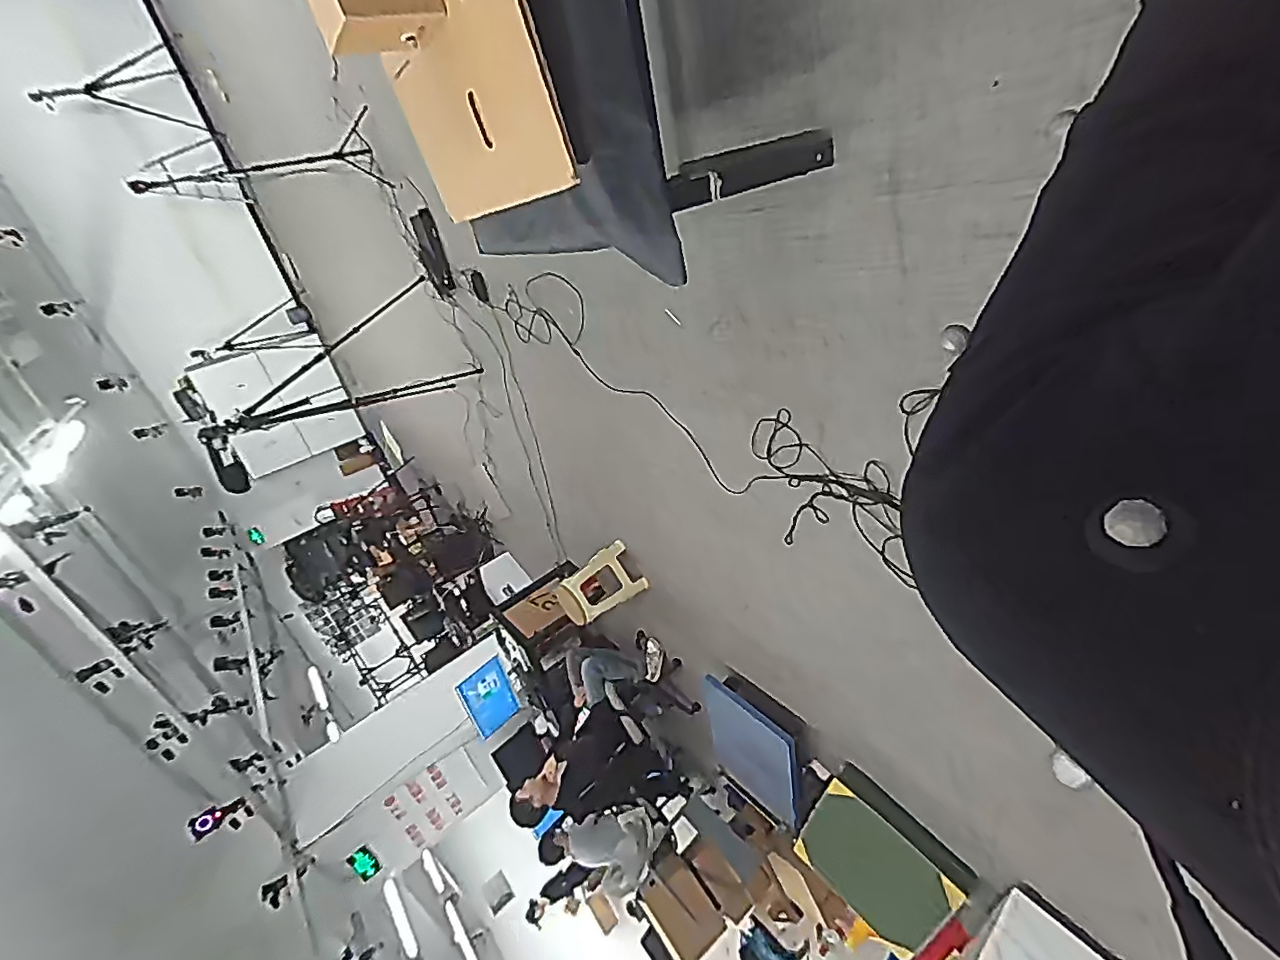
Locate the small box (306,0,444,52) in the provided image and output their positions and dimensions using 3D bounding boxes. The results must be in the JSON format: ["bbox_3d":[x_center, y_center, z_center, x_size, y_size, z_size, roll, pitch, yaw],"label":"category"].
[{"bbox_3d":[-0.446,-0.828,0.872,0.168,0.176,0.179,23,135,51],"label":"small box"}]
